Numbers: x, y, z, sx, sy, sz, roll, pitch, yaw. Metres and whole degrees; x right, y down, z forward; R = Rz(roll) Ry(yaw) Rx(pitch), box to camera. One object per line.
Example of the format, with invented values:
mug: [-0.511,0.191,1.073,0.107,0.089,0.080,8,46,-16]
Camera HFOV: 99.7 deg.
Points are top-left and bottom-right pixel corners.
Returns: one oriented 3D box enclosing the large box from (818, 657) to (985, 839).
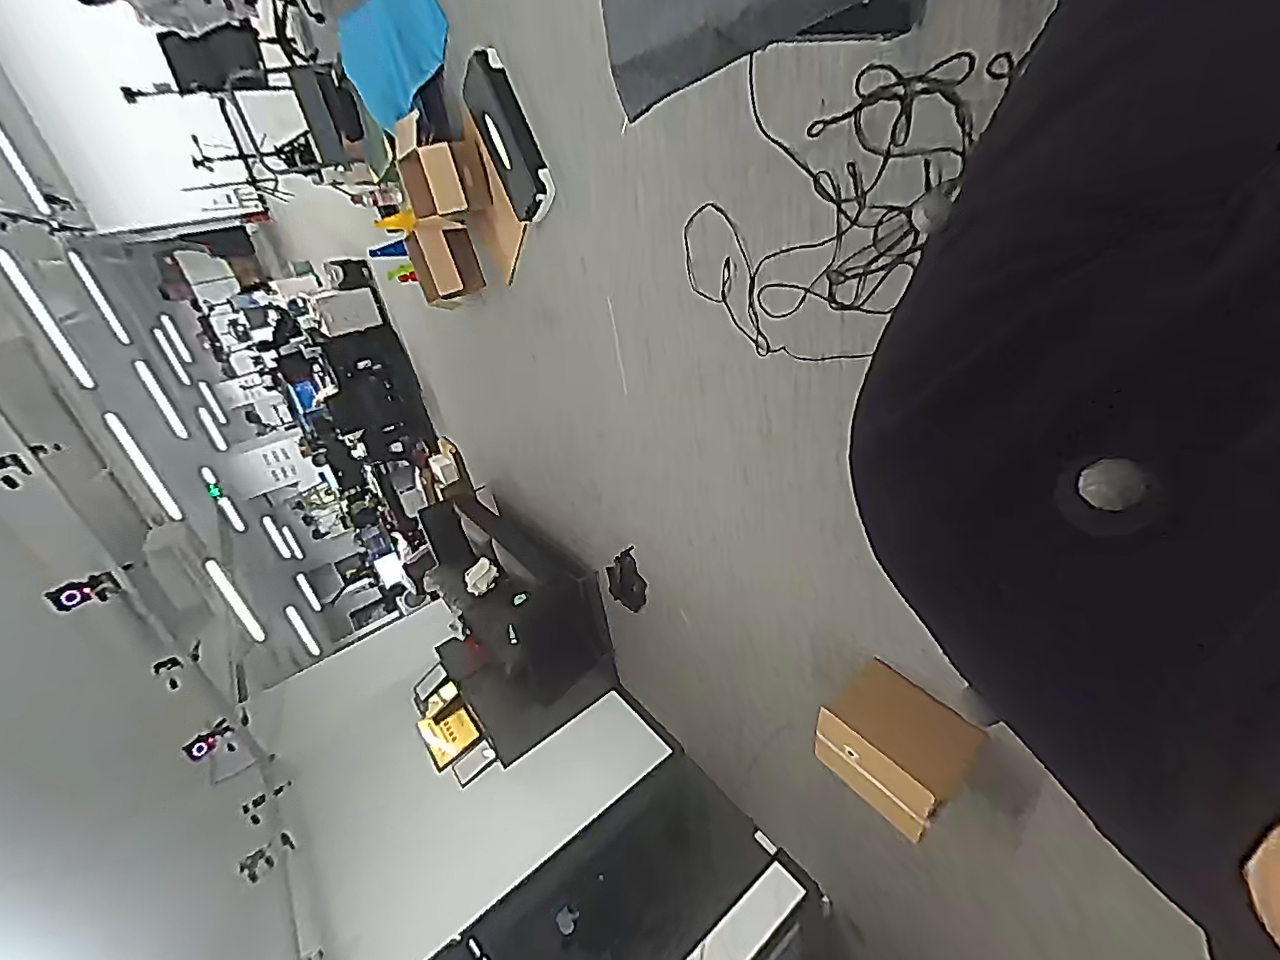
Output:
large box: [0.889,0.908,1.874,0.408,0.320,0.320,33,140,44]
